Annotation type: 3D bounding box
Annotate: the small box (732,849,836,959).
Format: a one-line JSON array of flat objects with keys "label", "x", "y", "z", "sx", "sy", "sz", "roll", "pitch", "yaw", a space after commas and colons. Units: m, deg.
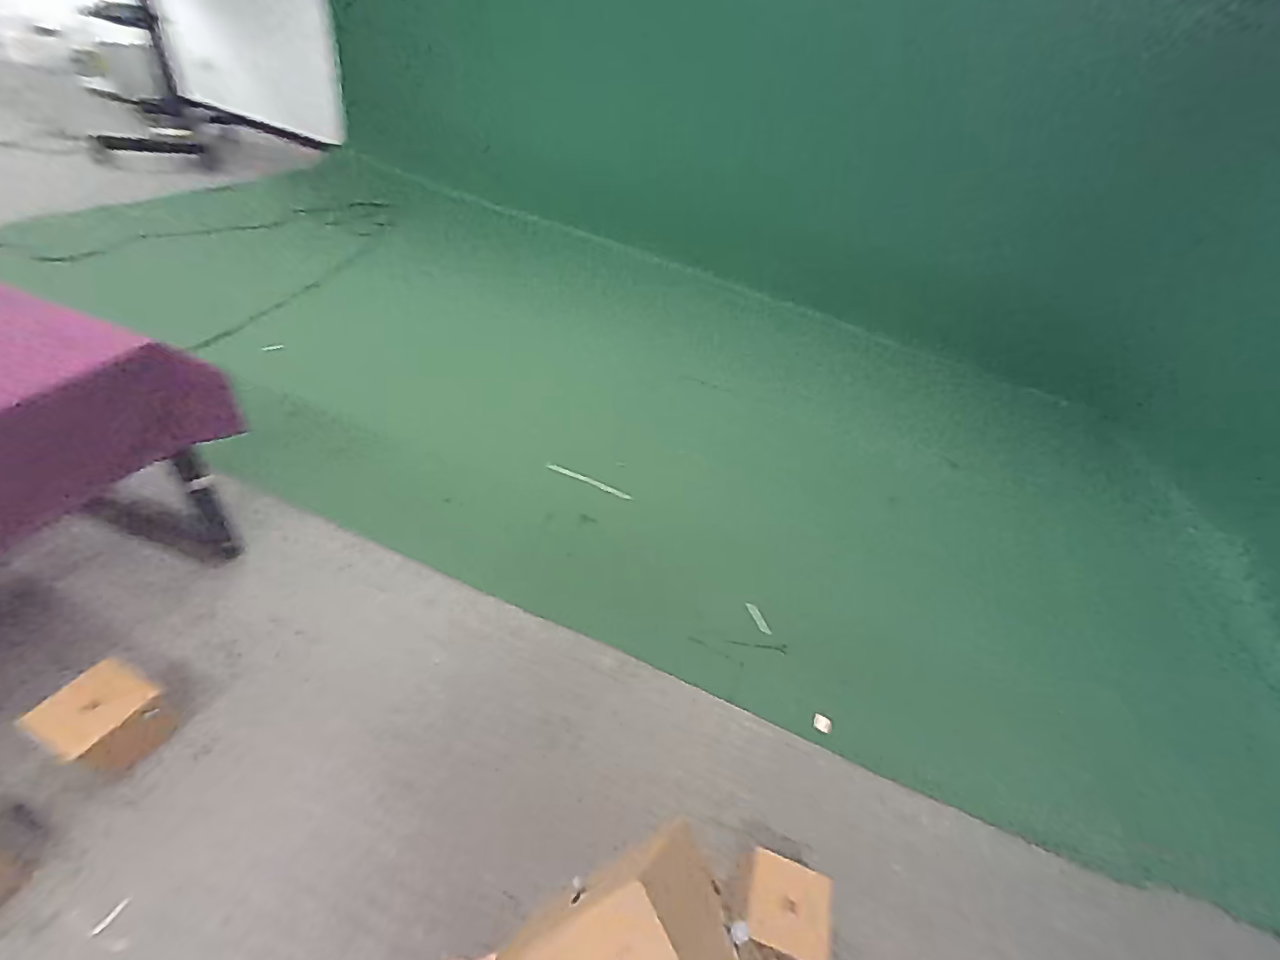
[{"label": "small box", "x": 0.306, "y": 0.956, "z": 1.185, "sx": 0.179, "sy": 0.176, "sz": 0.168, "roll": 21, "pitch": 43, "yaw": 7}]
